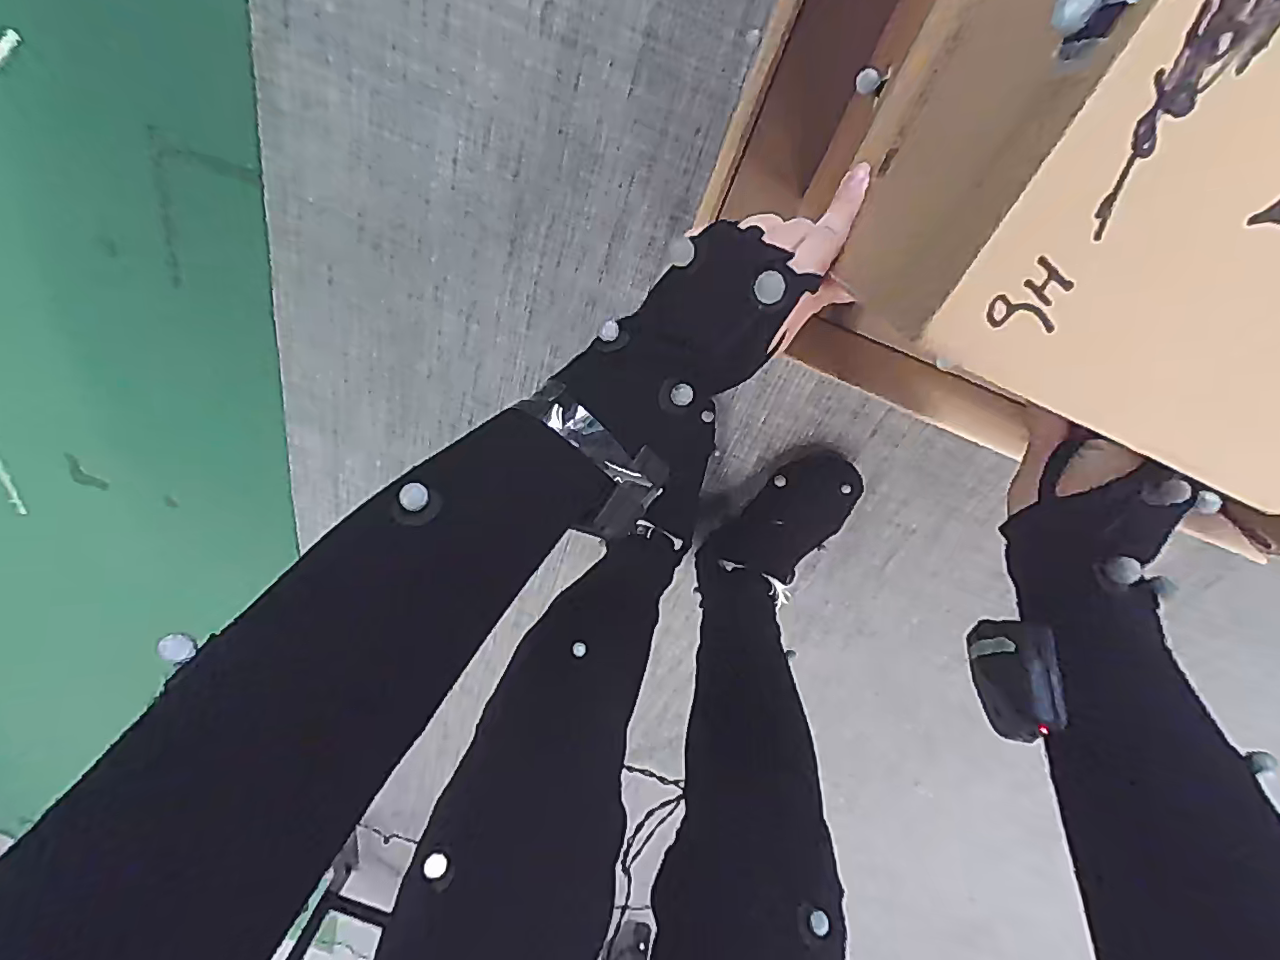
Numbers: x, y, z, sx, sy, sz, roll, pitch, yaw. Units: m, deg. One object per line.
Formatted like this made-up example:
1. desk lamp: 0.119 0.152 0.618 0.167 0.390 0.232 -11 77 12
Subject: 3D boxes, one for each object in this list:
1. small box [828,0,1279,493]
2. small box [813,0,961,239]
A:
1. small box: 0.215 -0.128 0.237 0.179 0.176 0.168 22 120 -9
2. small box: 0.248 -0.259 0.415 0.168 0.176 0.179 22 125 -3
